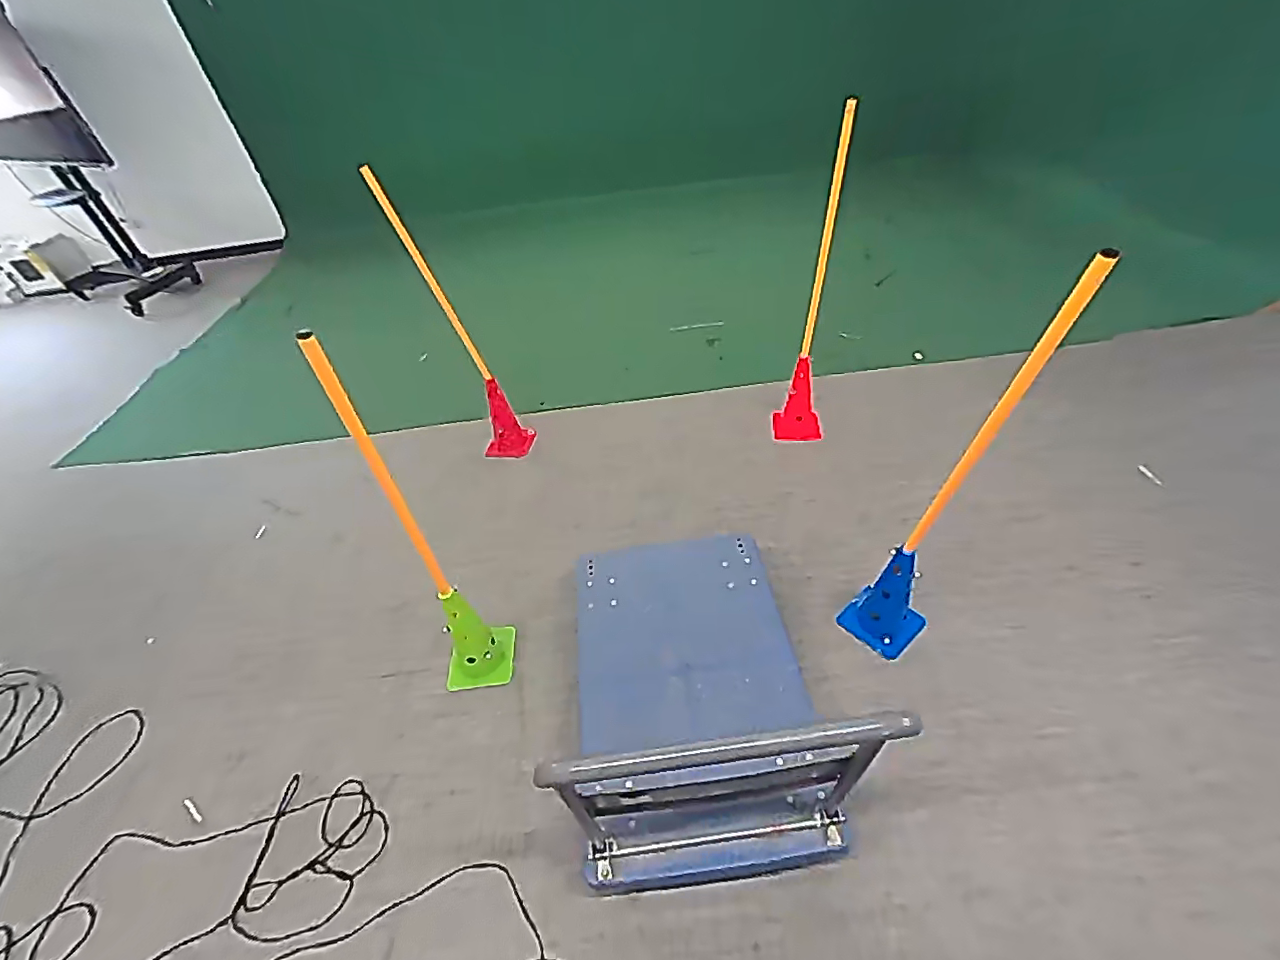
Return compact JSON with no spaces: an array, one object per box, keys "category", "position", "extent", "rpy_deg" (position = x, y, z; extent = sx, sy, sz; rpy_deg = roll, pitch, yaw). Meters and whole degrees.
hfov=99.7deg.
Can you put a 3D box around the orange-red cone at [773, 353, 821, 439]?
[{"category":"orange-red cone","position":[0.666,-0.364,2.257],"extent":[0.198,0.360,0.199],"rpy_deg":[0,45,10]}]
